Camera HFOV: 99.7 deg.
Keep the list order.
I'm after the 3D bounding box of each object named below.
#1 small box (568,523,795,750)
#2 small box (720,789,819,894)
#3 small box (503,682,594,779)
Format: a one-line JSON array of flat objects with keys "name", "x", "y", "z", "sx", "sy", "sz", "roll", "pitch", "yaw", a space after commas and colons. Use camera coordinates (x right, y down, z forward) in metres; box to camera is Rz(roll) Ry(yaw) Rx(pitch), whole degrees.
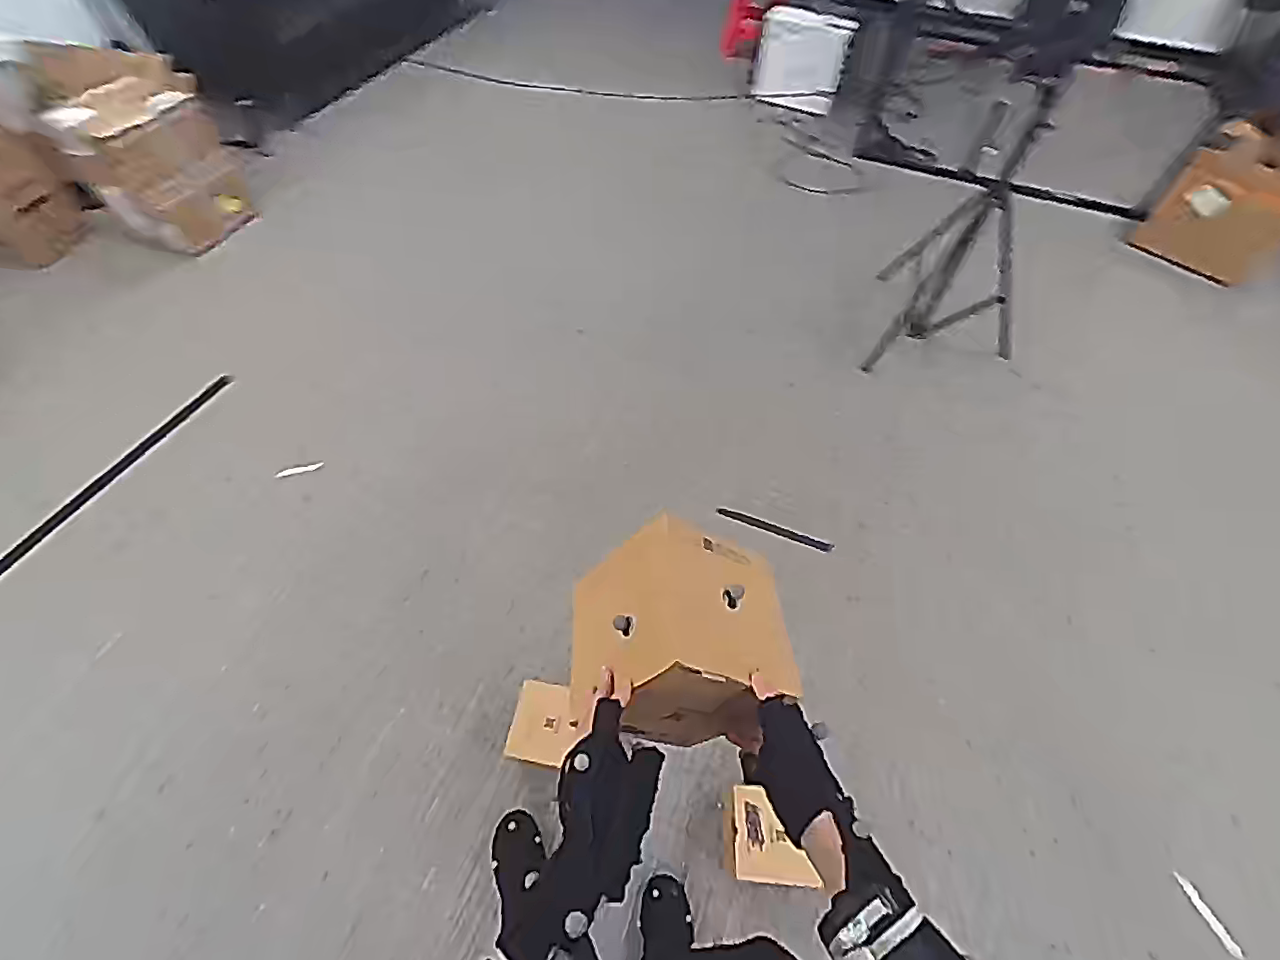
[{"name": "small box", "x": 0.033, "y": 0.173, "z": 0.595, "sx": 0.168, "sy": 0.179, "sz": 0.176, "roll": 26, "pitch": 39, "yaw": -28}, {"name": "small box", "x": 0.271, "y": 0.780, "z": 1.169, "sx": 0.179, "sy": 0.176, "sz": 0.168, "roll": 6, "pitch": 56, "yaw": 1}, {"name": "small box", "x": -0.201, "y": 0.597, "z": 1.278, "sx": 0.179, "sy": 0.176, "sz": 0.168, "roll": 9, "pitch": 55, "yaw": 5}]
